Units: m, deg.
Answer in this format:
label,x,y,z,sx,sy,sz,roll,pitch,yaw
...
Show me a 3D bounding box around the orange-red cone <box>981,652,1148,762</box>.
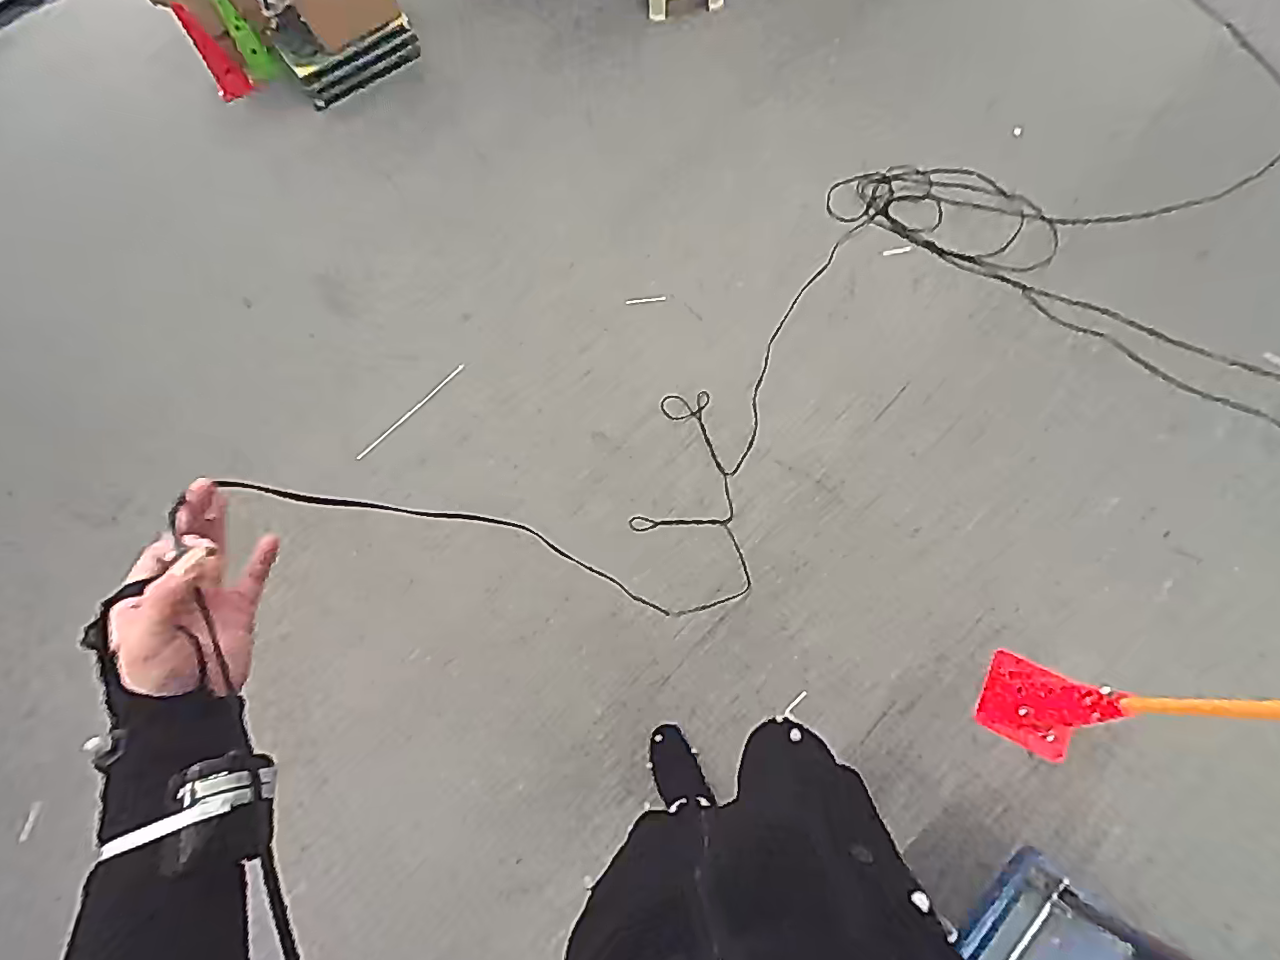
label,x,y,z,sx,sy,sz,roll,pitch,yaw
orange-red cone,0.925,0.475,1.145,0.198,0.360,0.199,26,73,17
